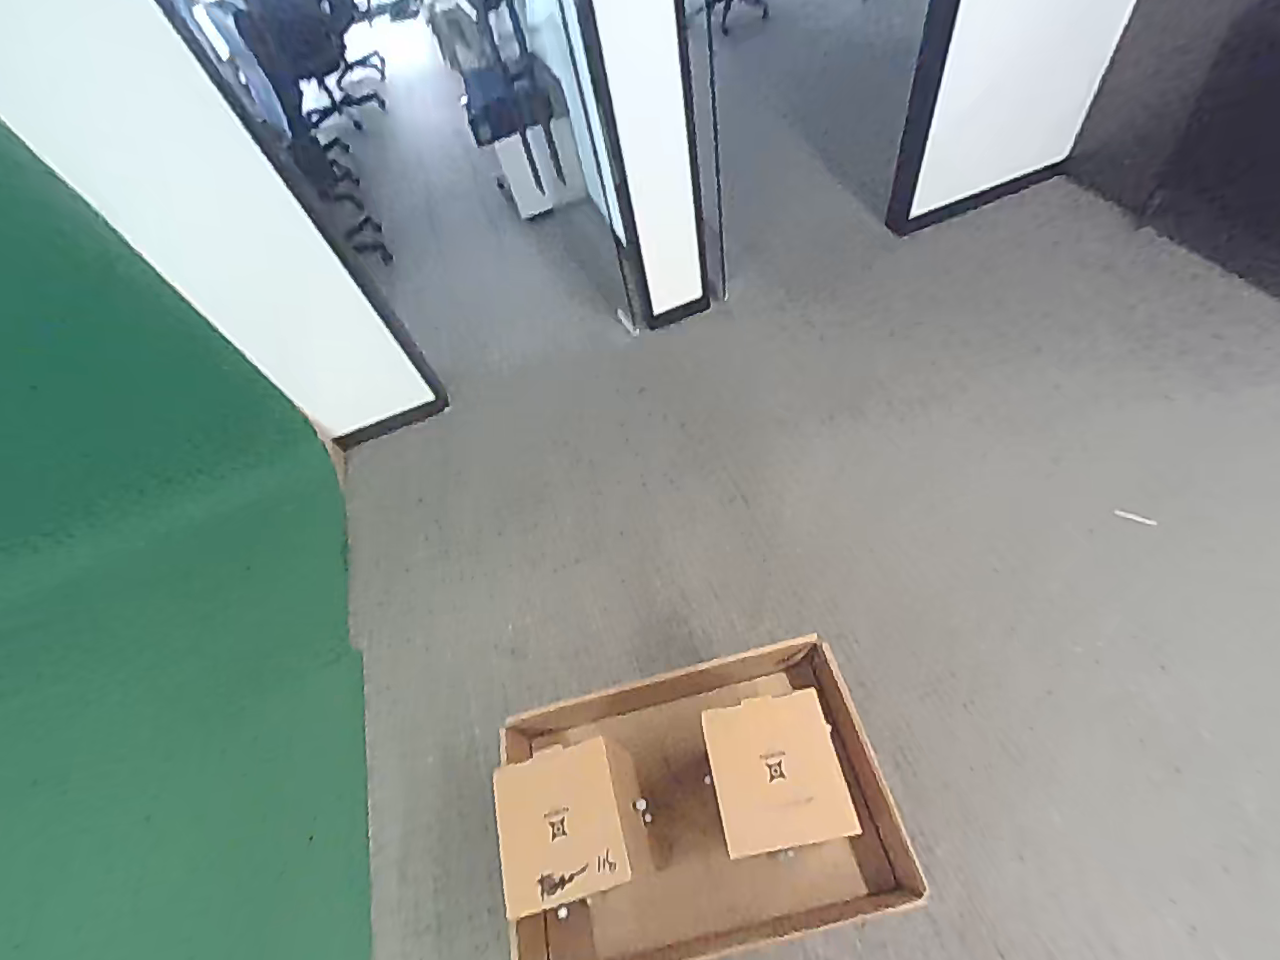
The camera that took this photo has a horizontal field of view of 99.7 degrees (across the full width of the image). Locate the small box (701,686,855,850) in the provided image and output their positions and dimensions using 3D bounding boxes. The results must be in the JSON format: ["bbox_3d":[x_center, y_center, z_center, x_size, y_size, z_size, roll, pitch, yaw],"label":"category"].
[{"bbox_3d":[0.190,0.421,0.783,0.168,0.176,0.179,-14,55,5],"label":"small box"}]

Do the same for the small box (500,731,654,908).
[{"bbox_3d":[-0.090,0.499,0.799,0.168,0.176,0.179,-19,54,2],"label":"small box"}]
